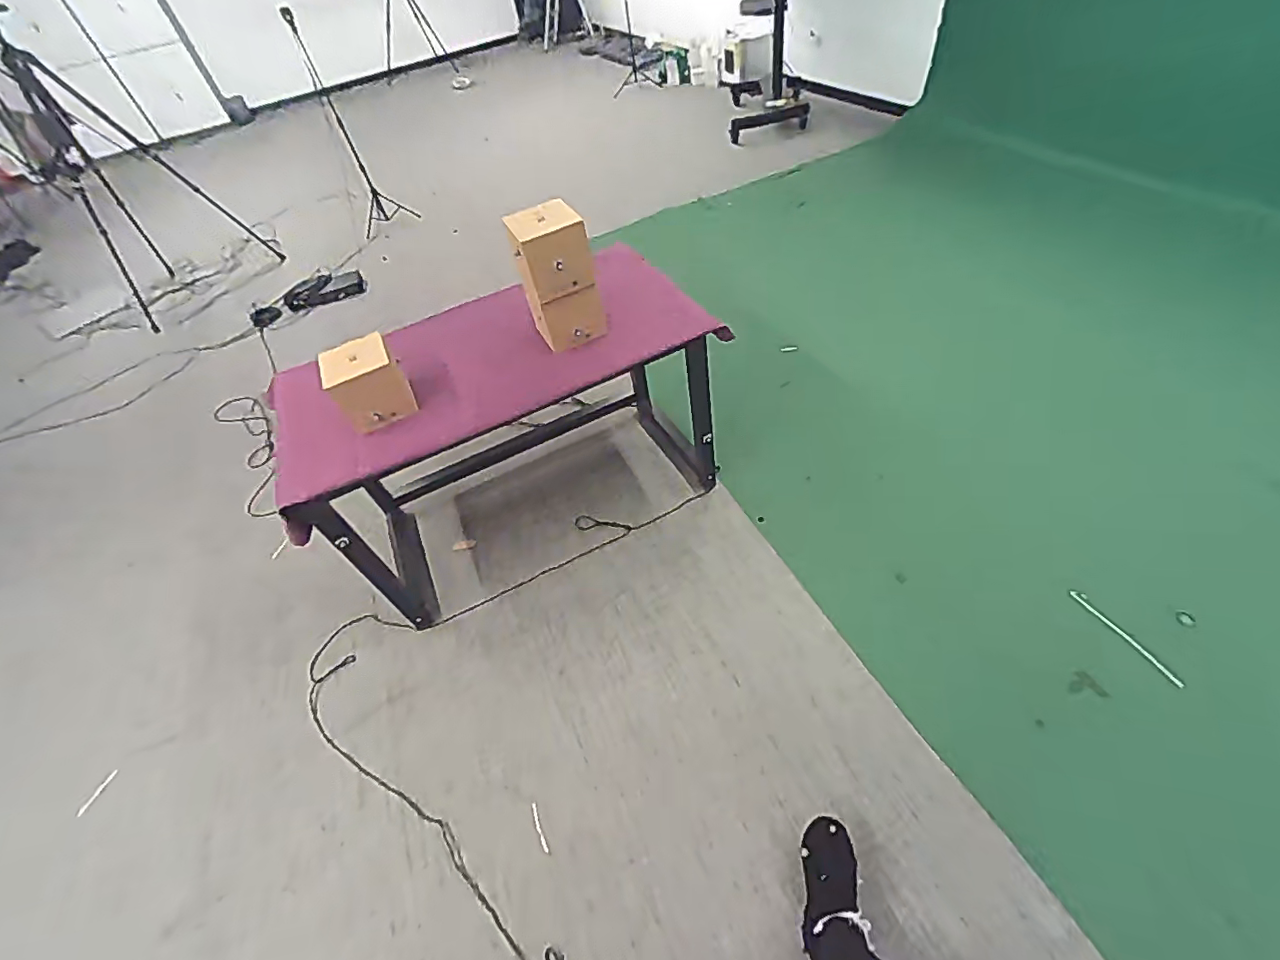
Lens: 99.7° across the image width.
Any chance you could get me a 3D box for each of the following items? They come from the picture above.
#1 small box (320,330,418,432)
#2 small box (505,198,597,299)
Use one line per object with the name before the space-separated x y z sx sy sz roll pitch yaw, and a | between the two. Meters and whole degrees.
small box | -0.704 -0.256 1.410 0.168 0.176 0.179 -25 50 -11
small box | -0.224 -0.589 1.391 0.168 0.176 0.179 -24 49 -11
